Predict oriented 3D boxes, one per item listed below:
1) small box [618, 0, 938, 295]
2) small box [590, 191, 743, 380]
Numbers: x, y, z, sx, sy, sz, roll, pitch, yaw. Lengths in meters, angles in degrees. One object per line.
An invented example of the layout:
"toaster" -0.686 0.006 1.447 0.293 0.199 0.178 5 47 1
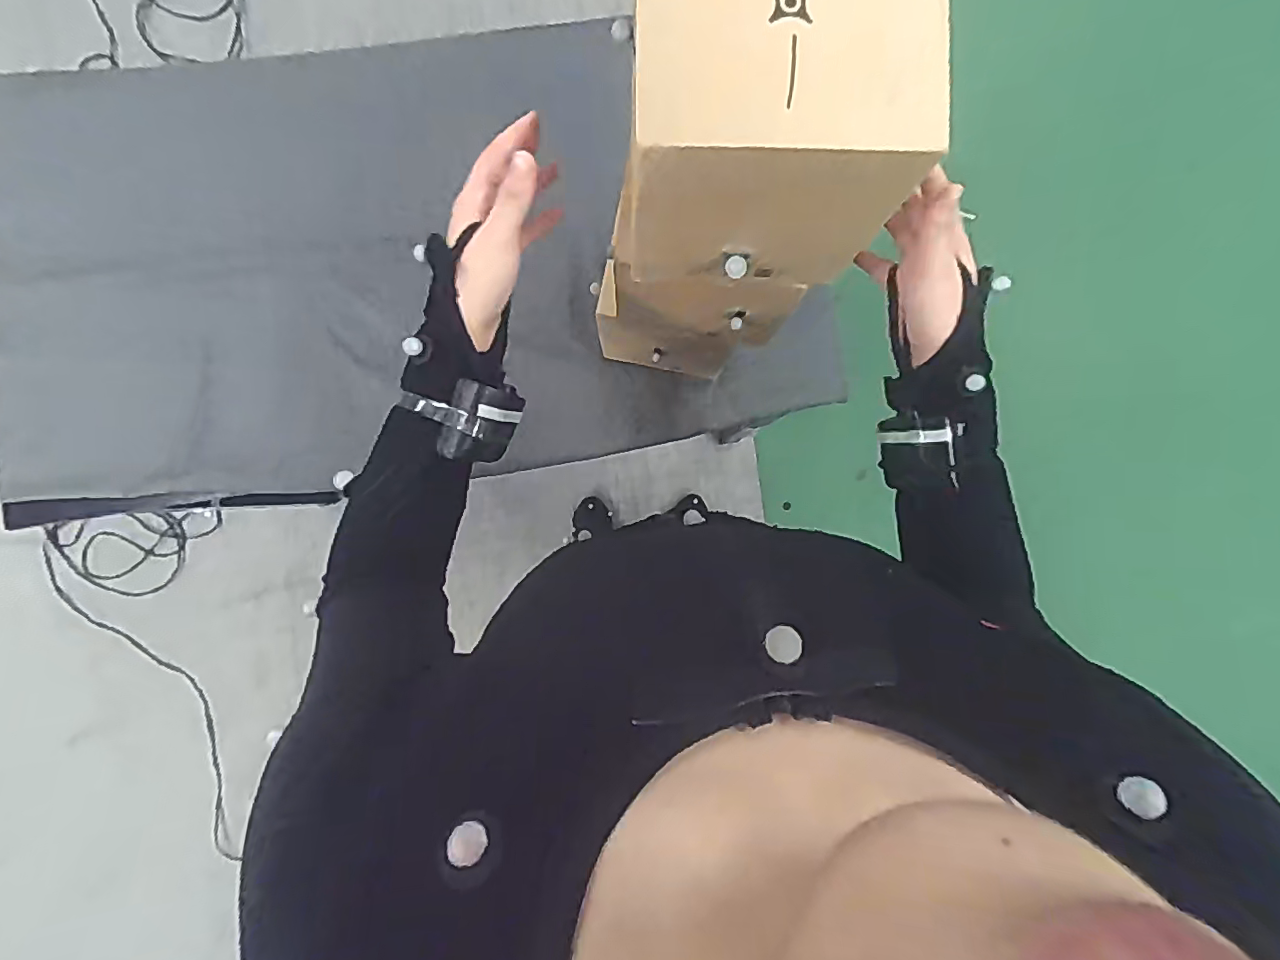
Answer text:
"small box" 0.070 -0.242 0.358 0.168 0.176 0.179 1 87 -1
"small box" 0.040 -0.239 0.684 0.168 0.176 0.179 12 86 0
